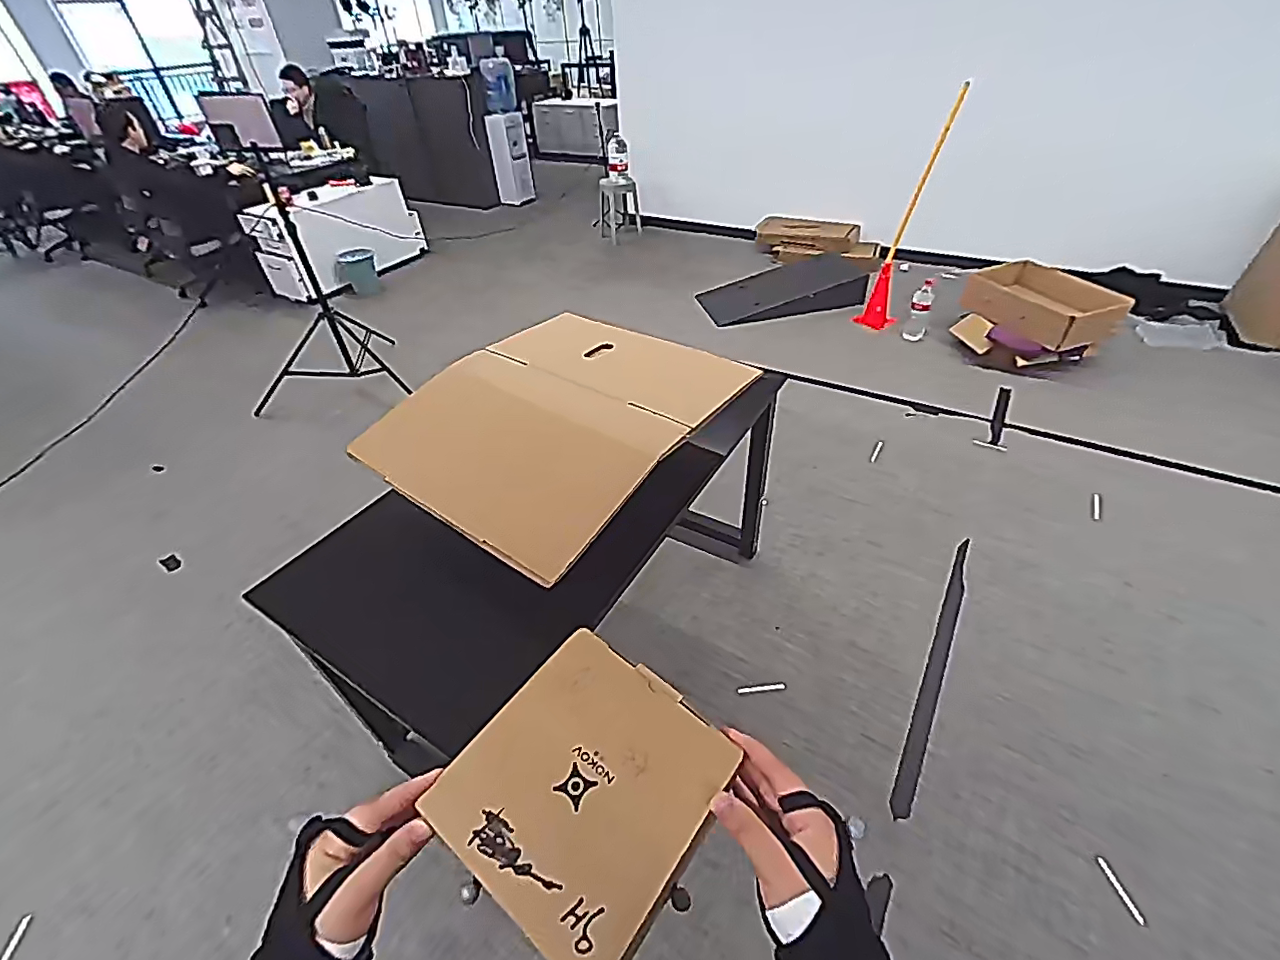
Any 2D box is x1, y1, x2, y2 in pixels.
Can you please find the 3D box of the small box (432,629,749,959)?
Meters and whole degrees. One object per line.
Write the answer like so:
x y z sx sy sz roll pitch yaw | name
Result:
-0.035 0.269 0.450 0.168 0.176 0.179 30 52 26 | small box
